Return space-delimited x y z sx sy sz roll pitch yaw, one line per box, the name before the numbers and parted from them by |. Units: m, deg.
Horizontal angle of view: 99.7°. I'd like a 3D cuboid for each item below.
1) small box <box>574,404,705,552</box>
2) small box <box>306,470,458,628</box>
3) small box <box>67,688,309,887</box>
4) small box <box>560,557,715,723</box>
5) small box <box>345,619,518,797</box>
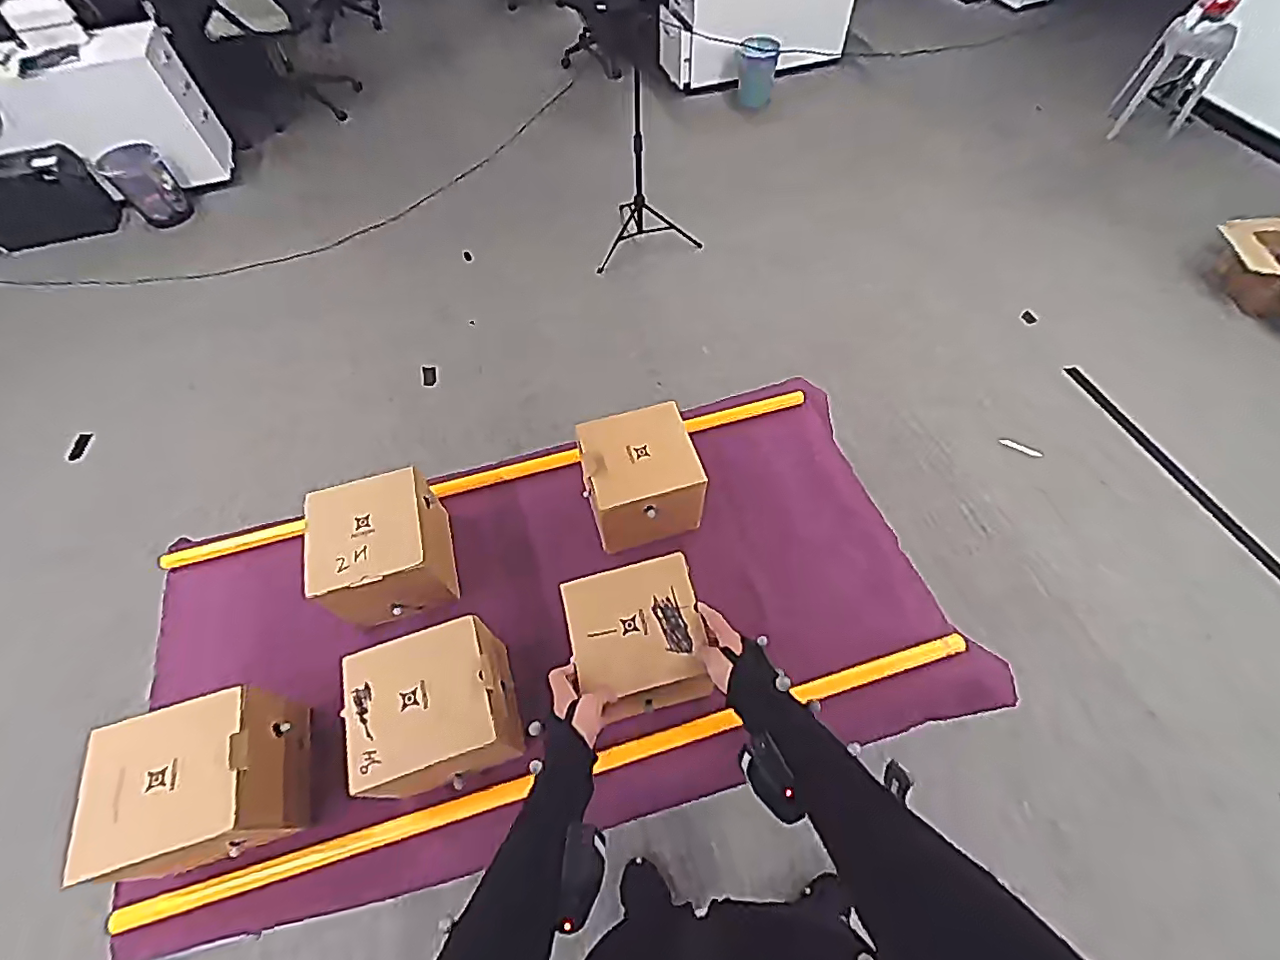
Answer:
small box | -0.003 0.001 0.925 0.179 0.176 0.168 -16 60 -7
small box | -0.407 0.114 0.869 0.168 0.176 0.179 -16 61 -7
small box | -0.557 0.392 0.701 0.179 0.176 0.168 -15 59 -10
small box | -0.004 0.233 0.772 0.179 0.176 0.168 -14 59 -4
small box | -0.275 0.315 0.741 0.179 0.176 0.168 -17 59 -9
